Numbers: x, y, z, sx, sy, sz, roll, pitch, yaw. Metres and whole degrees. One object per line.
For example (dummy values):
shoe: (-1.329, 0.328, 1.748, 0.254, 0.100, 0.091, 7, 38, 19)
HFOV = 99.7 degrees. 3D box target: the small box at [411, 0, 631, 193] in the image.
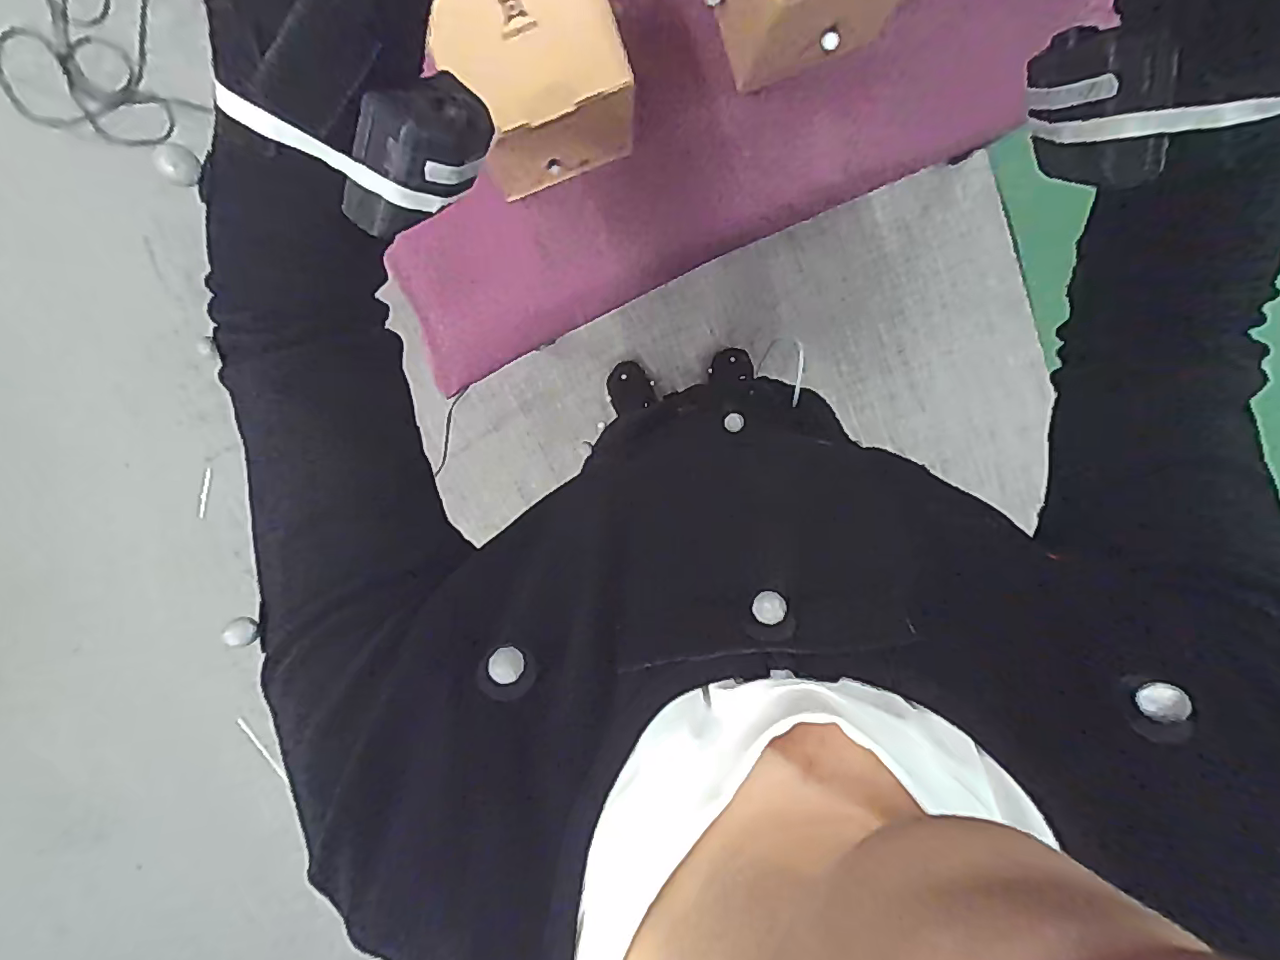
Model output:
small box: (-0.117, -0.432, 0.556, 0.168, 0.176, 0.179, -21, 103, 2)

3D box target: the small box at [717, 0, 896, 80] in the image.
small box: (0.168, -0.547, 0.542, 0.168, 0.176, 0.179, -20, 102, 7)
